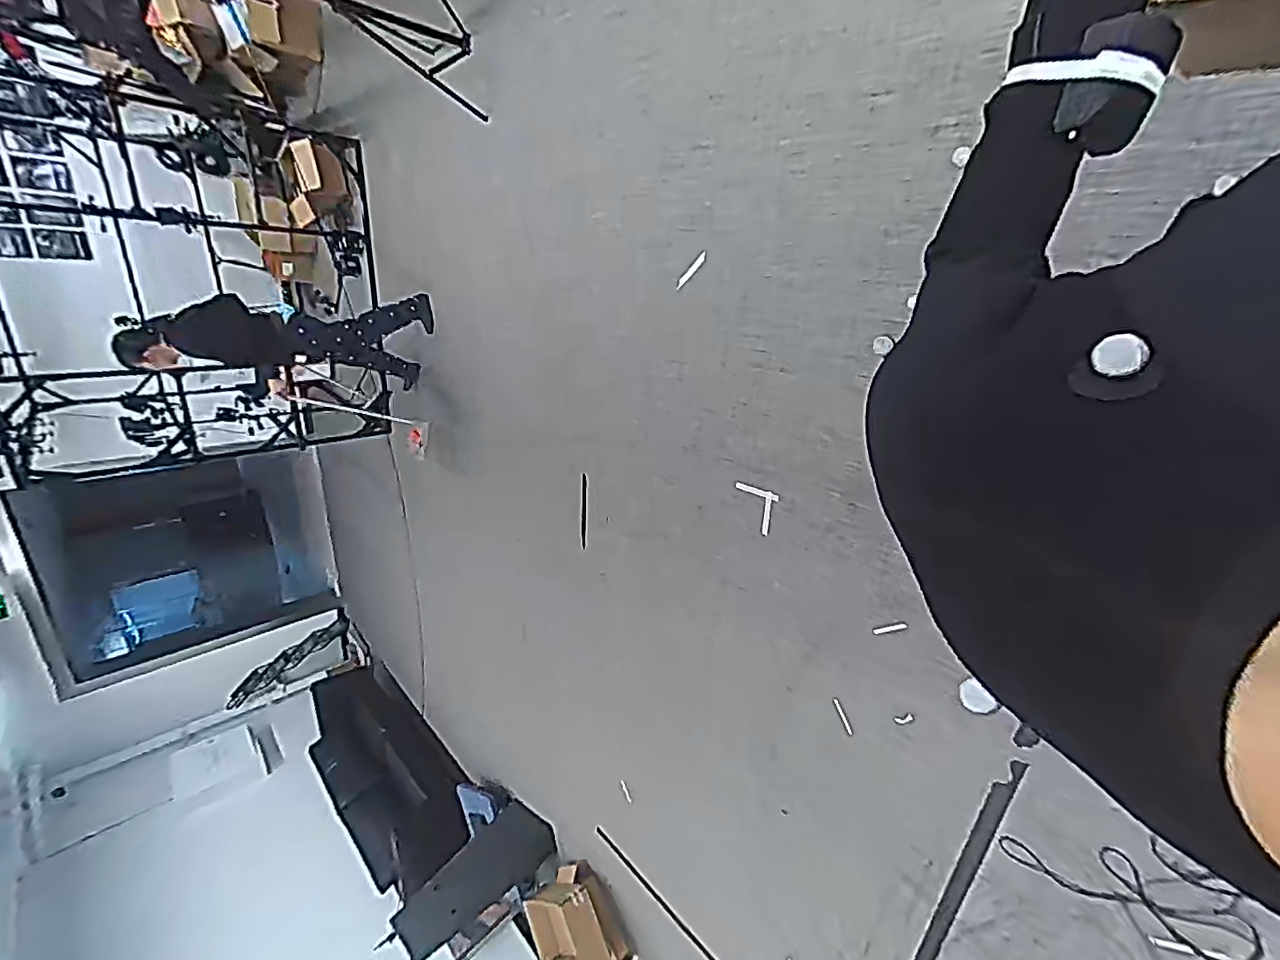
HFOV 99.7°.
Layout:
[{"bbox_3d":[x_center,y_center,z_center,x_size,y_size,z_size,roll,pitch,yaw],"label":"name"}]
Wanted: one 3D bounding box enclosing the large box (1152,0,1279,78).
[{"bbox_3d":[0.579,-0.434,0.262,0.408,0.320,0.320,25,126,39],"label":"large box"}]
